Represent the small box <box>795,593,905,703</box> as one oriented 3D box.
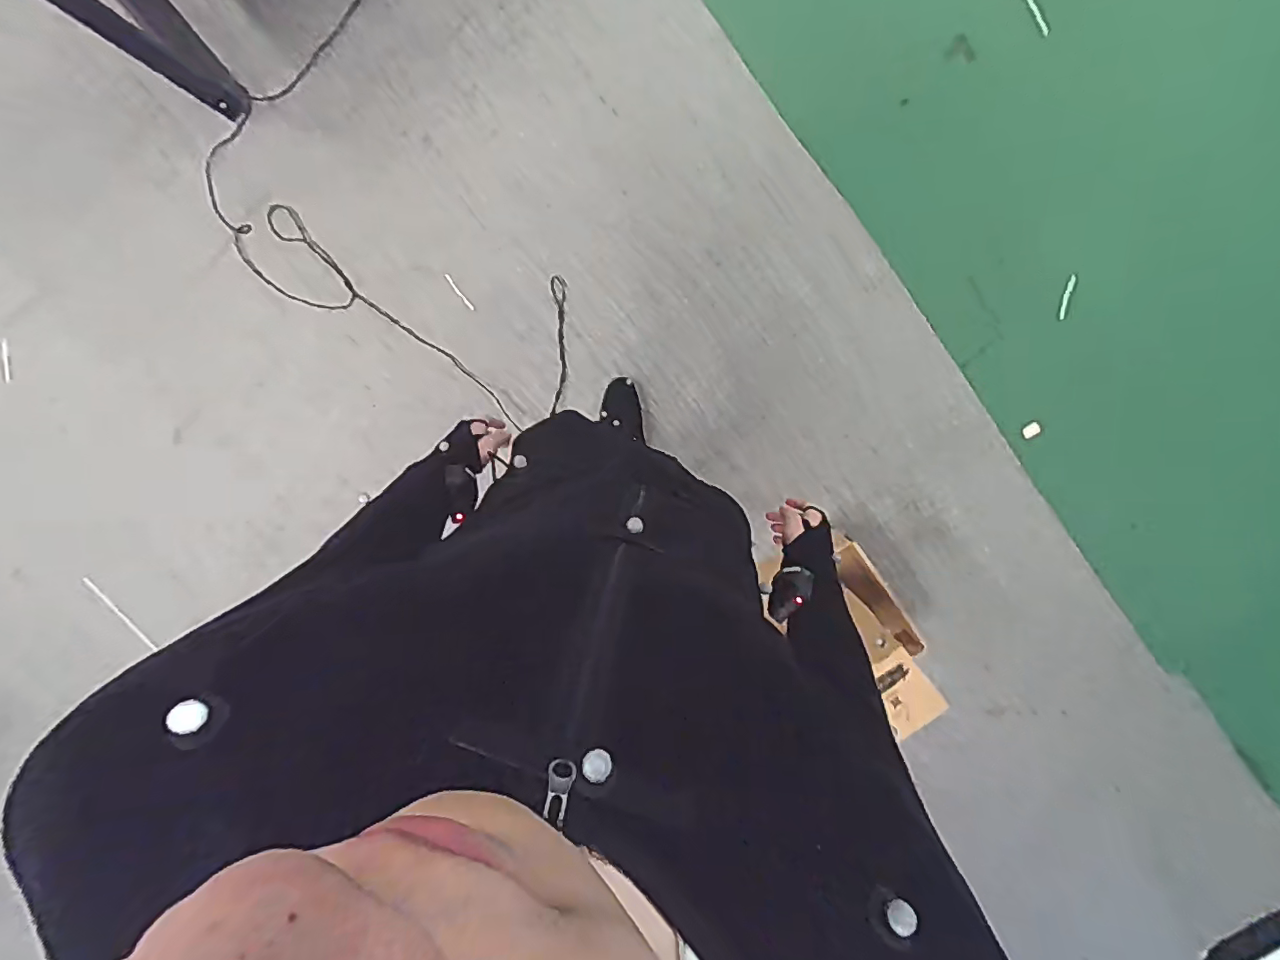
[{"bbox_3d":[0.529,0.422,1.385,0.168,0.176,0.179,-38,97,6],"label":"small box"}]
